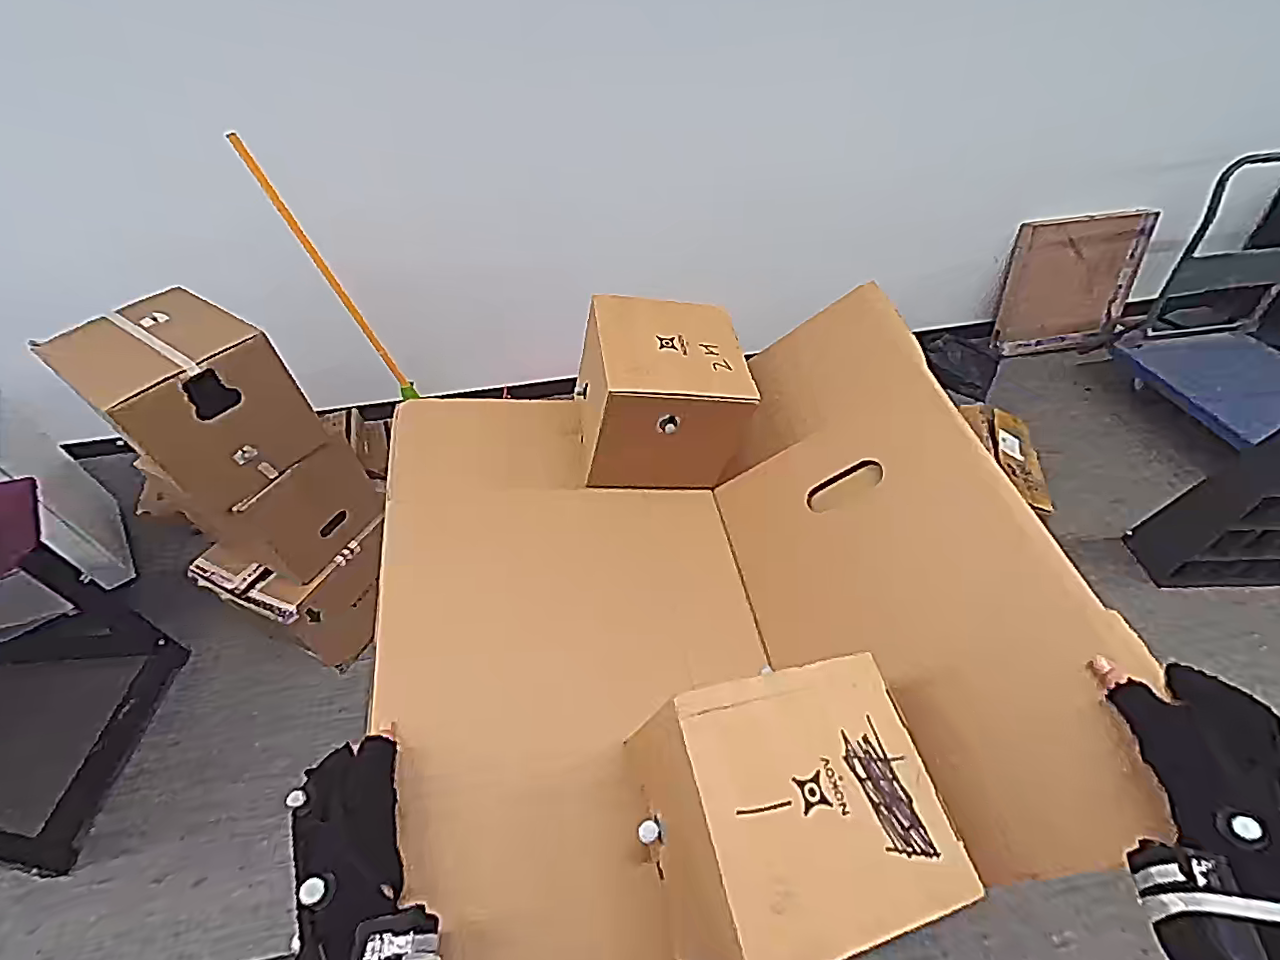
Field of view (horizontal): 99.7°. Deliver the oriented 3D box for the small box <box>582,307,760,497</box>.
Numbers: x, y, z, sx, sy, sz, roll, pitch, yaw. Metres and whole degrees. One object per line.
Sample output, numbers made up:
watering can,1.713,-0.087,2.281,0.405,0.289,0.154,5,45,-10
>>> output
small box,0.023,-0.091,0.681,0.179,0.176,0.168,2,53,-15
